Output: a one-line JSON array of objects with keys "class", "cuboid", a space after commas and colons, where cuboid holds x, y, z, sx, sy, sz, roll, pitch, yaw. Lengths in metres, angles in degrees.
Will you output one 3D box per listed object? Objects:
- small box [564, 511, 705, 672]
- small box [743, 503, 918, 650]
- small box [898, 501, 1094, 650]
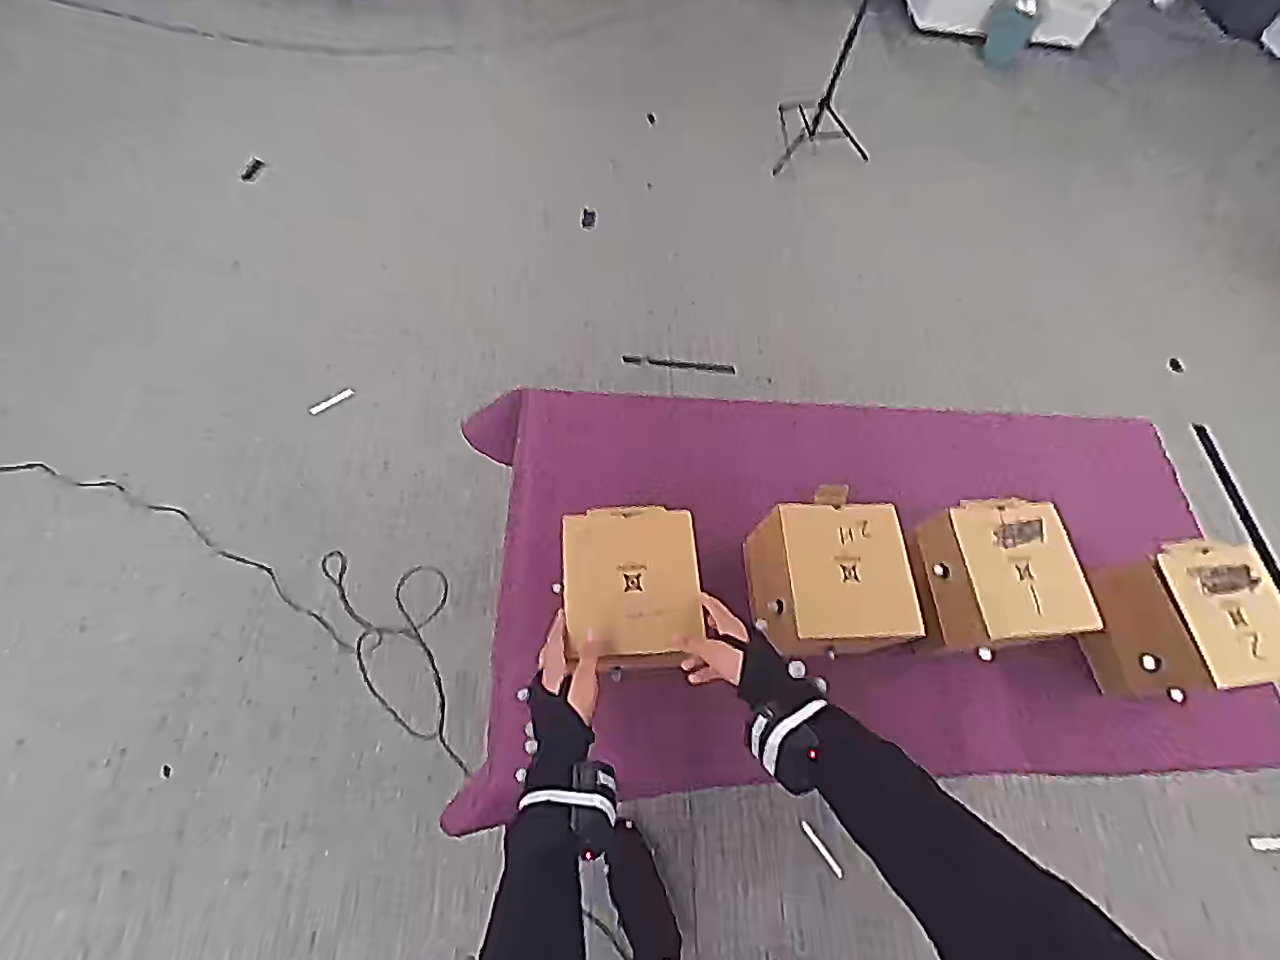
[{"class": "small box", "cuboid": [-0.019, 0.154, 0.729, 0.168, 0.176, 0.179, -2, 65, -7]}, {"class": "small box", "cuboid": [0.254, 0.144, 0.768, 0.168, 0.176, 0.179, 0, 65, -7]}, {"class": "small box", "cuboid": [0.494, 0.145, 0.798, 0.168, 0.176, 0.179, -3, 66, -8]}]
